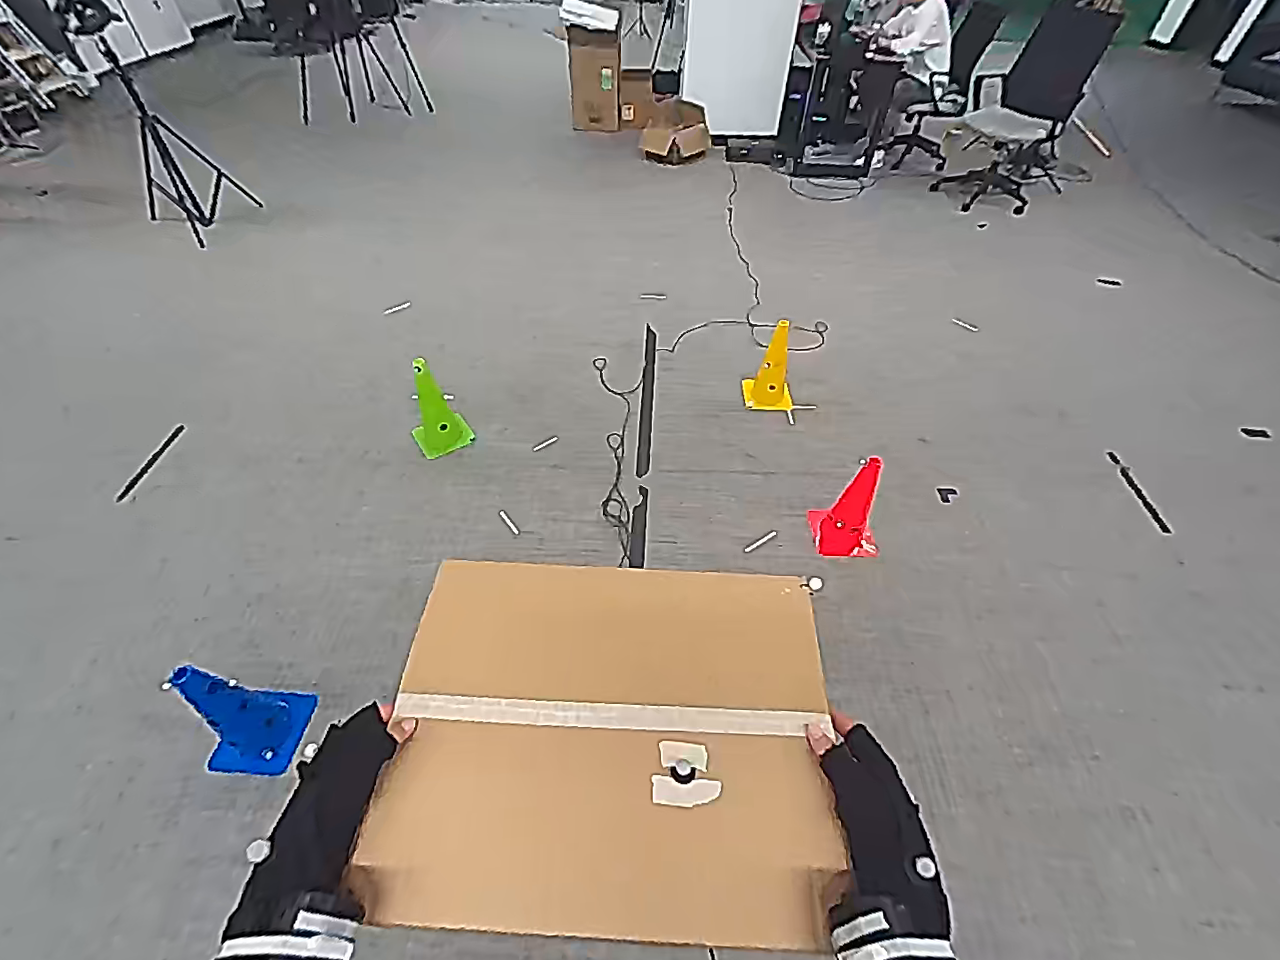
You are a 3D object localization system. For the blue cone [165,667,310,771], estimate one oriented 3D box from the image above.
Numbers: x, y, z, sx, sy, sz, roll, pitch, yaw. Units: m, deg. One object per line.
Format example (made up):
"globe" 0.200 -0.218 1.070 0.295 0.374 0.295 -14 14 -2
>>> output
"blue cone" -0.973 0.537 1.277 0.192 0.380 0.193 4 48 4

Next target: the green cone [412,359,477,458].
"green cone" -0.770 -0.296 2.016 0.202 0.368 0.200 -28 53 -22

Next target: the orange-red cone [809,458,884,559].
"orange-red cone" 0.695 0.067 1.723 0.198 0.360 0.199 1 46 -1

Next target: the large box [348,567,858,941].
"large box" -0.028 0.318 0.622 0.408 0.320 0.320 3 51 1
